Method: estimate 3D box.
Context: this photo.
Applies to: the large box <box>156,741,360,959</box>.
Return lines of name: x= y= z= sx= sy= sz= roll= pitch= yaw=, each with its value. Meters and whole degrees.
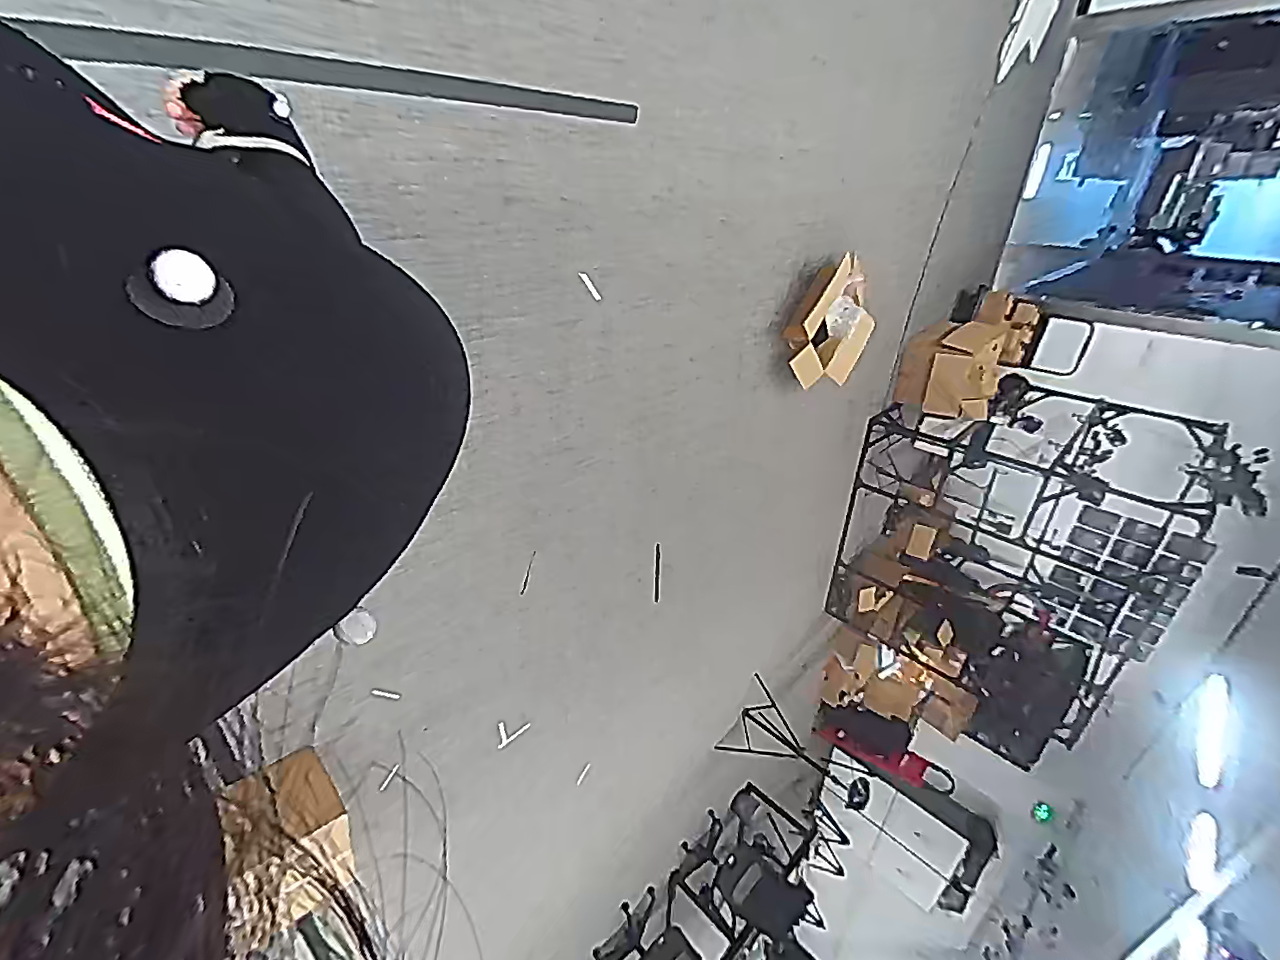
large box: x=-1.103 y=1.071 z=1.587 sx=0.408 sy=0.320 sz=0.320 roll=-18 pitch=123 yaw=-44
